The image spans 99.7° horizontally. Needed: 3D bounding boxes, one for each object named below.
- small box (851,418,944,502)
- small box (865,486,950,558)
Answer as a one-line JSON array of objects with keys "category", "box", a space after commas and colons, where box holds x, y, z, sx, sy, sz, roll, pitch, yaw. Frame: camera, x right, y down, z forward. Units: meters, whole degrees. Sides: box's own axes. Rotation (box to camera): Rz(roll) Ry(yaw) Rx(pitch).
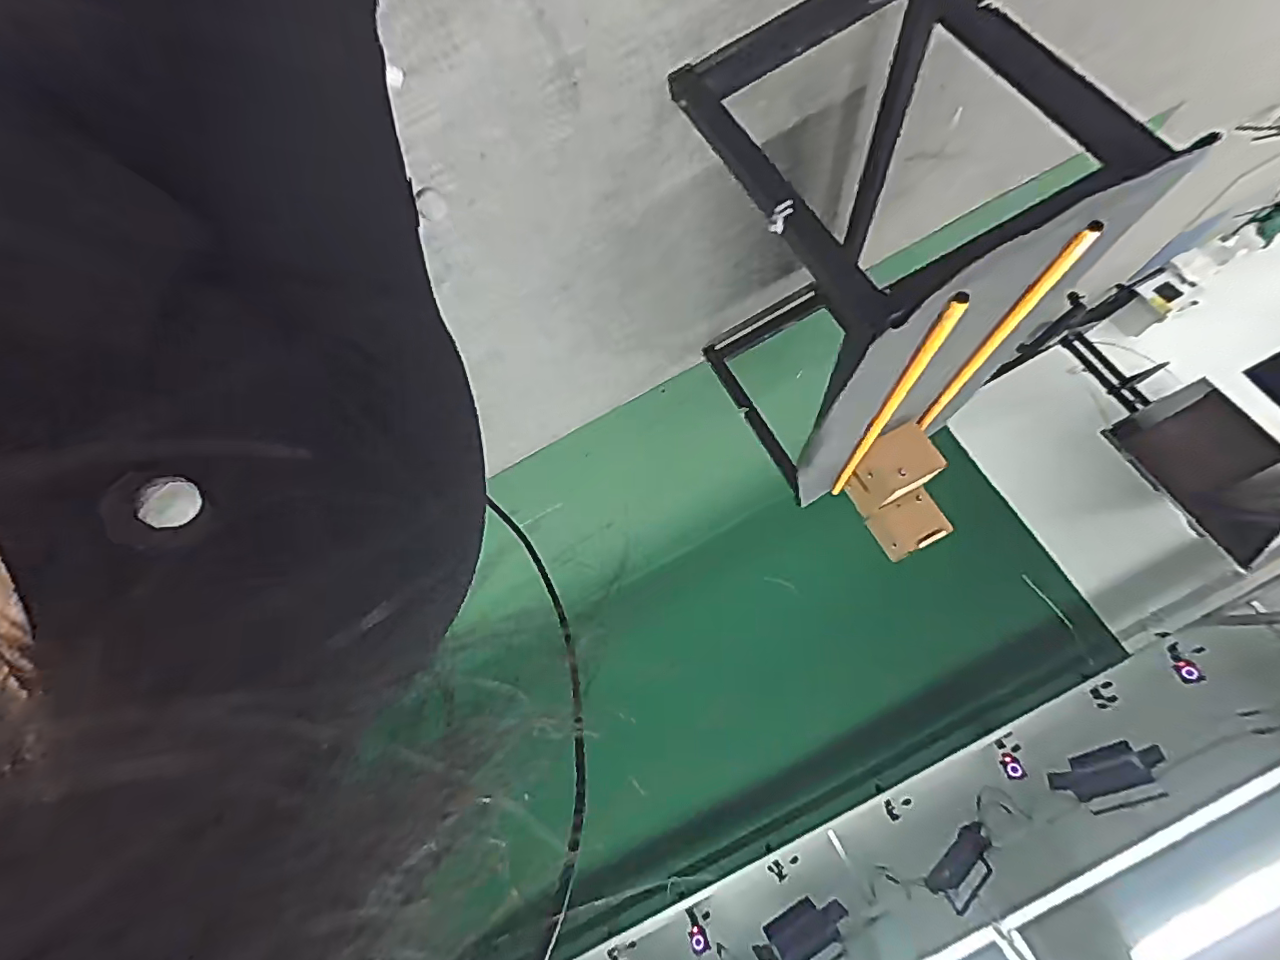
[{"category": "small box", "box": [0.786, -0.062, 1.676, 0.179, 0.176, 0.168, -28, 161, -2]}, {"category": "small box", "box": [0.898, 0.140, 1.838, 0.168, 0.176, 0.179, -27, 161, -4]}]
